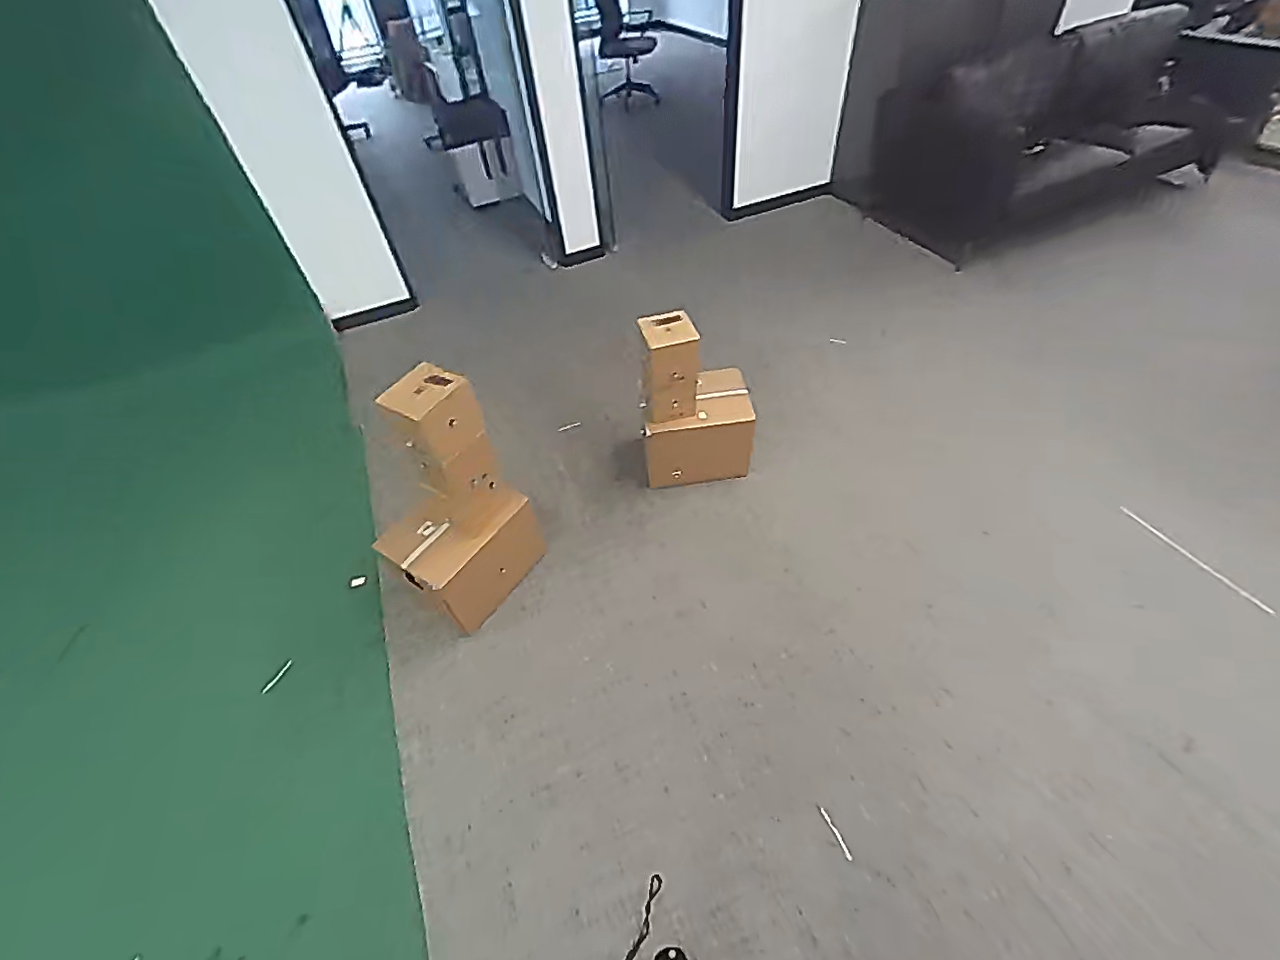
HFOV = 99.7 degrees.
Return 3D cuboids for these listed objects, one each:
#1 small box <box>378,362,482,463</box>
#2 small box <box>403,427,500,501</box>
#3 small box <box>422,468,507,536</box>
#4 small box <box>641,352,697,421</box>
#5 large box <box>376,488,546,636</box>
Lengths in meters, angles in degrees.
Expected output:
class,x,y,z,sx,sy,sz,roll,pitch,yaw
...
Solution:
class,x,y,z,sx,sy,sz,roll,pitch,yaw
small box,-0.541,-0.177,1.429,0.168,0.176,0.179,23,56,24
small box,-0.535,-0.069,1.552,0.179,0.176,0.168,25,56,24
small box,-0.532,0.037,1.675,0.168,0.176,0.179,23,55,24
small box,0.104,-0.329,1.945,0.168,0.176,0.179,-12,50,-7
large box,-0.580,0.237,1.832,0.320,0.320,0.408,23,55,25
